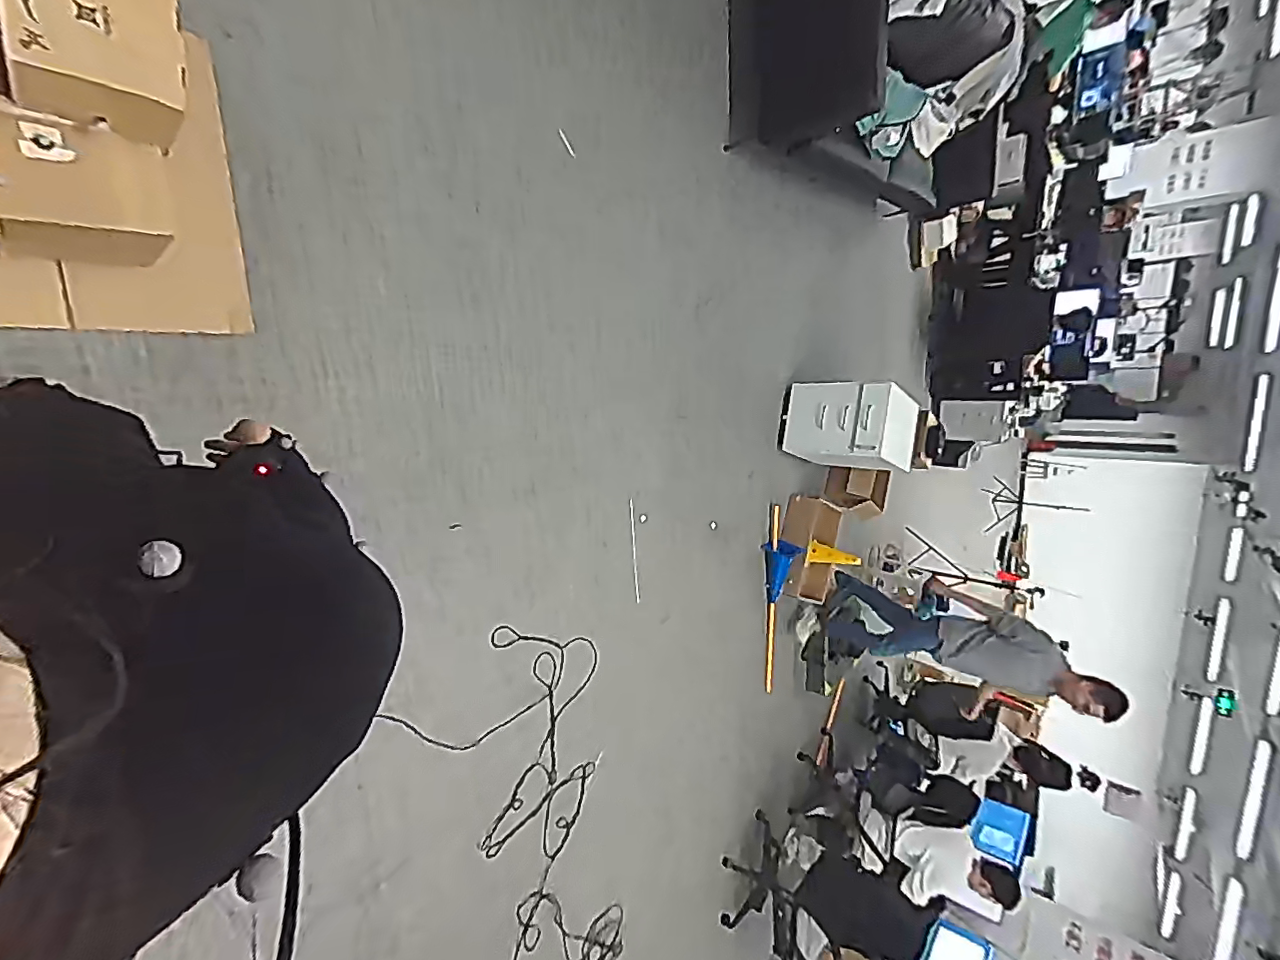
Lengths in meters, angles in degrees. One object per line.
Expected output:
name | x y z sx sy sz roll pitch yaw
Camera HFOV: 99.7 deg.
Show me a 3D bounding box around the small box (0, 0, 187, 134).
small box | -0.768 -0.617 0.756 0.179 0.176 0.168 -8 102 -47
